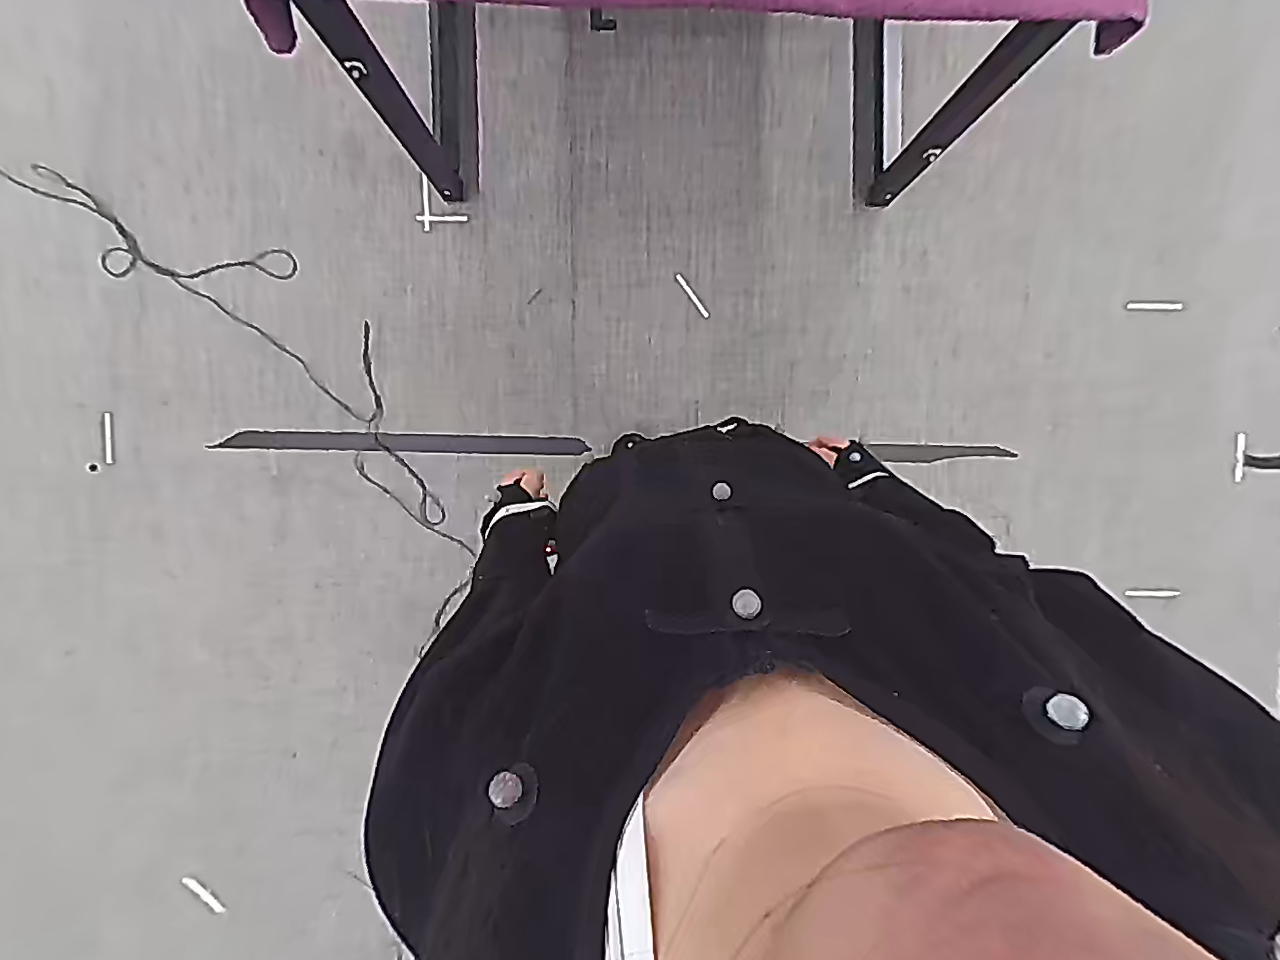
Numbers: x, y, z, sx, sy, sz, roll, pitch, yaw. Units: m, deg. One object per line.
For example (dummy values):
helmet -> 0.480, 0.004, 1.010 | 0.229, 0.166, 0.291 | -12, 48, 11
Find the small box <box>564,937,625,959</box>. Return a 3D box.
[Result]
small box -> -0.119, 1.390, 1.455 | 0.168, 0.176, 0.179 | -6, 94, -1
